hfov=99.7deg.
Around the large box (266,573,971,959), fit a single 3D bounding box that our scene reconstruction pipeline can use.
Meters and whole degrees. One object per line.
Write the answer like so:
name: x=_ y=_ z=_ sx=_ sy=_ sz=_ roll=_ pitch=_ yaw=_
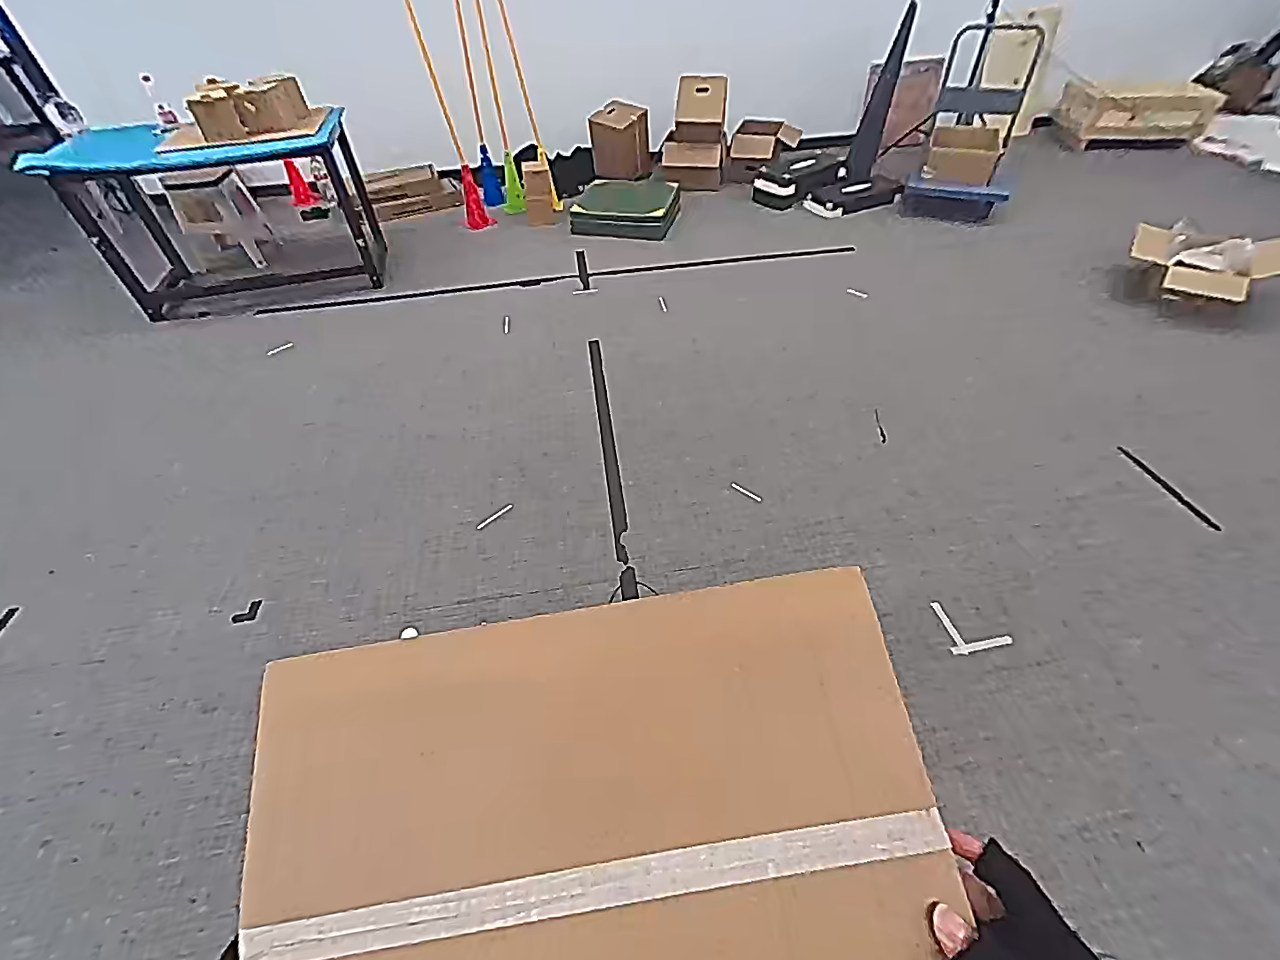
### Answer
large box: x=-0.016 y=0.293 z=0.456 sx=0.408 sy=0.320 sz=0.320 roll=-9 pitch=69 yaw=0
